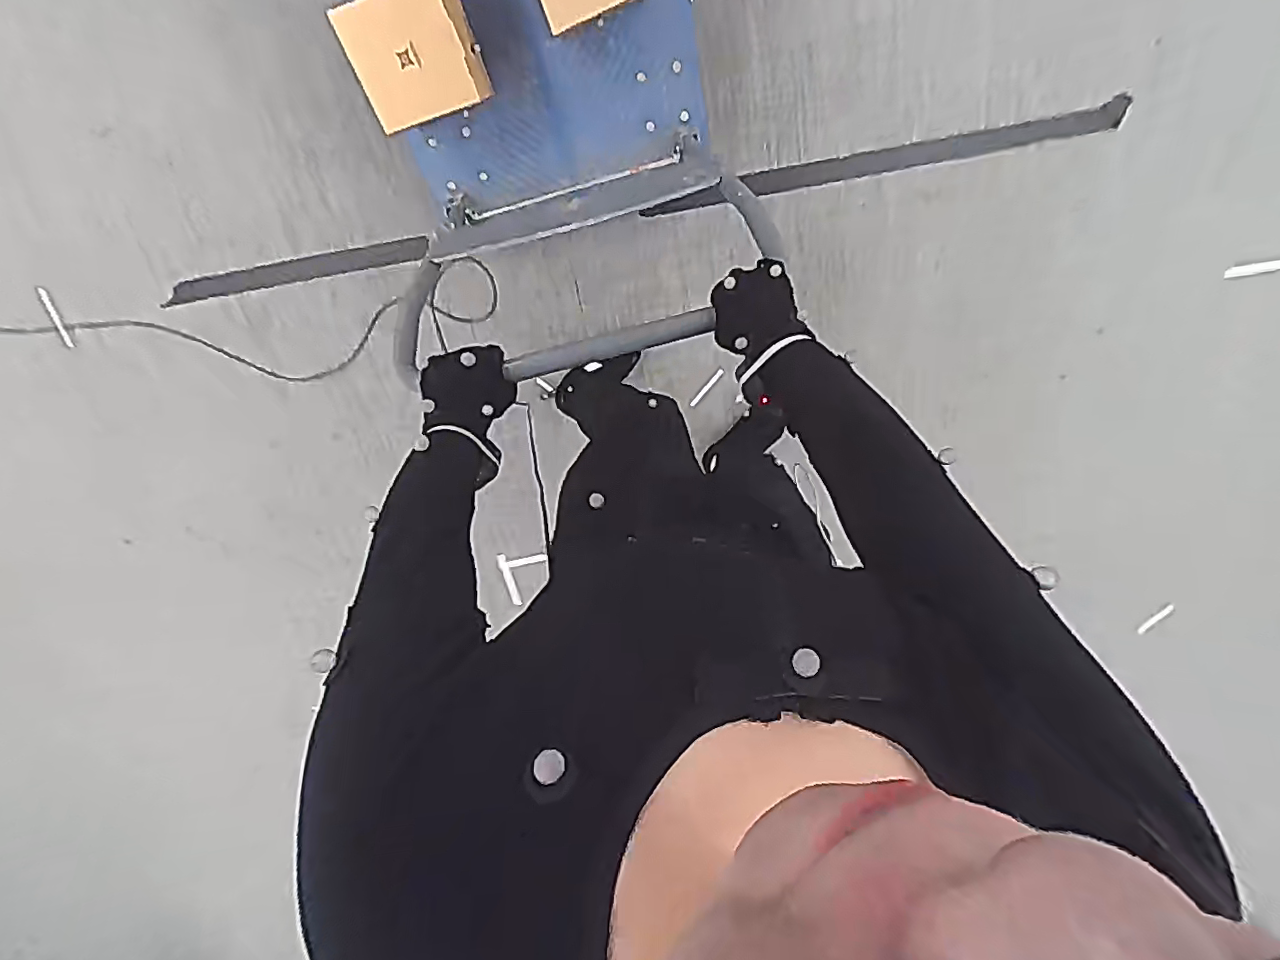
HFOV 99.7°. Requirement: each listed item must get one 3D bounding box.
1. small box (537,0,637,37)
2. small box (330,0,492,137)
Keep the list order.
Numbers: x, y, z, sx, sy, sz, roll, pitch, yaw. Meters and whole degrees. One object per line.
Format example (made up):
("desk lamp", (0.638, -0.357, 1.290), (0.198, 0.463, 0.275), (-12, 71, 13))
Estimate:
("small box", (-0.092, -0.829, 0.848), (0.179, 0.176, 0.168), (-19, 128, 9))
("small box", (-0.372, -0.707, 0.916), (0.179, 0.176, 0.168), (-17, 127, 6))
